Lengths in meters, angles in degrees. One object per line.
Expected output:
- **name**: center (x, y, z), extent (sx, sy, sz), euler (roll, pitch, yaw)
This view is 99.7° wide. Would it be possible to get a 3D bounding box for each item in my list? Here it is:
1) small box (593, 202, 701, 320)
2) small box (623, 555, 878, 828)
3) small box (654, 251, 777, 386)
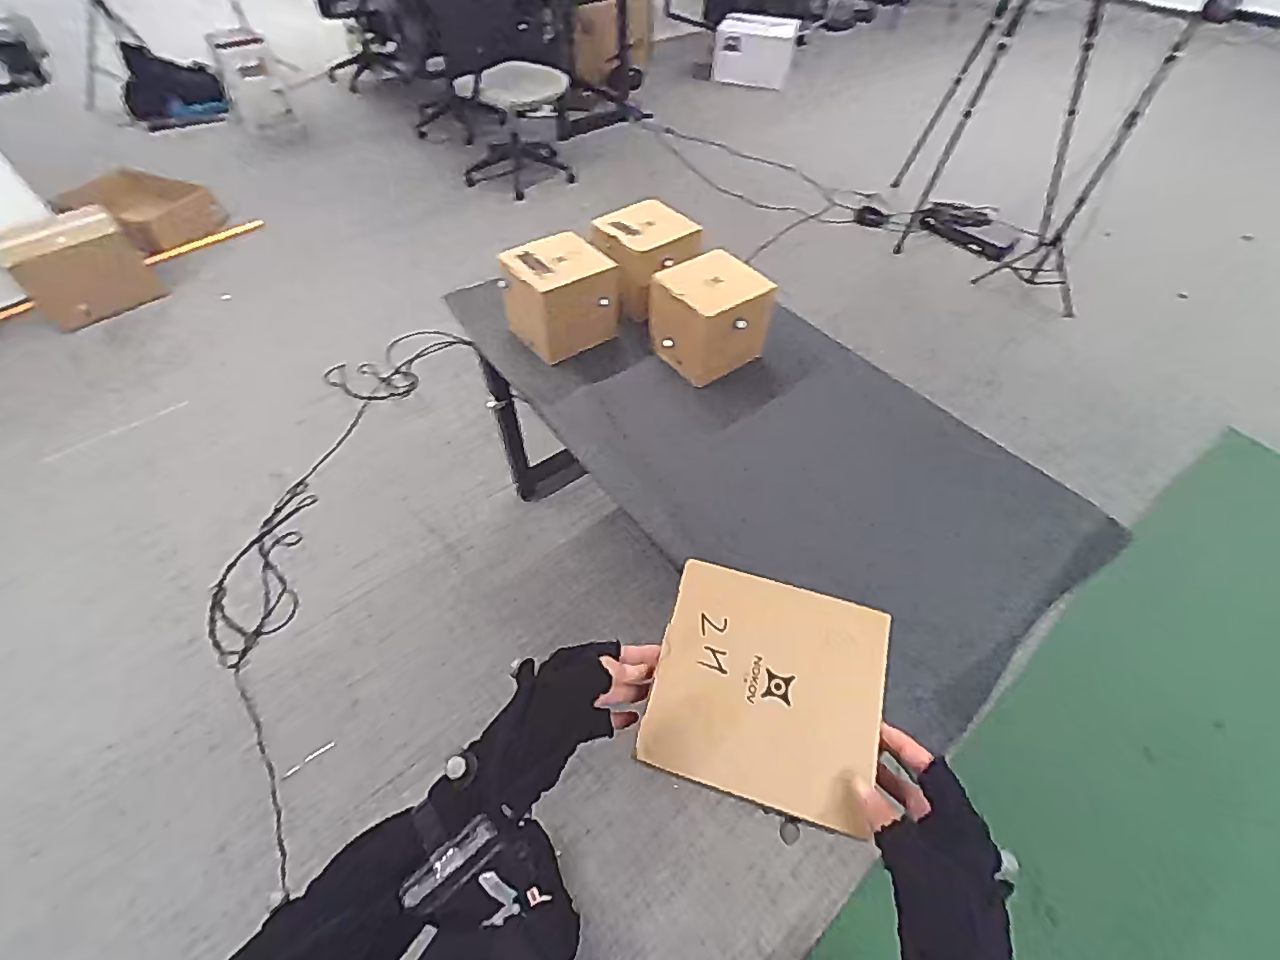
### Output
- **small box**: center (0.015, -0.485, 1.206), extent (0.179, 0.176, 0.168), euler (-32, 59, -24)
- **small box**: center (0.094, 0.192, 0.495), extent (0.179, 0.176, 0.168), euler (13, 62, 10)
- **small box**: center (0.141, -0.322, 1.084), extent (0.179, 0.176, 0.168), euler (-30, 59, -21)
